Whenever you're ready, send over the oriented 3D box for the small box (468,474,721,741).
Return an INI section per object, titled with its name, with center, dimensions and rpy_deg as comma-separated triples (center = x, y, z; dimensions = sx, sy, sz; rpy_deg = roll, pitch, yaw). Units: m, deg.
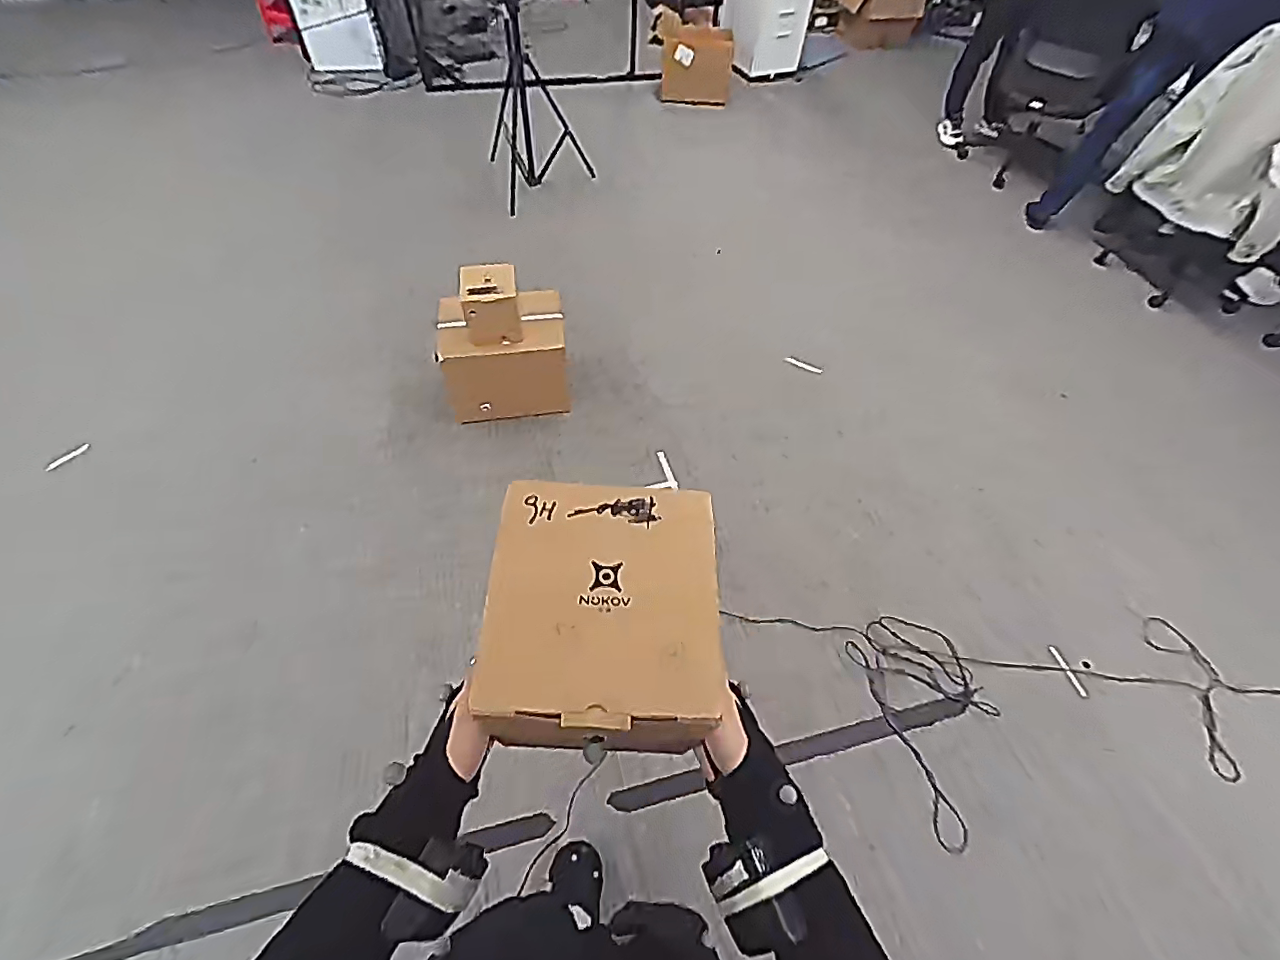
[small box]
center = -0.032, 0.115, 0.454
dimensions = 0.168, 0.176, 0.179
rpy_deg = 4, 58, -4
